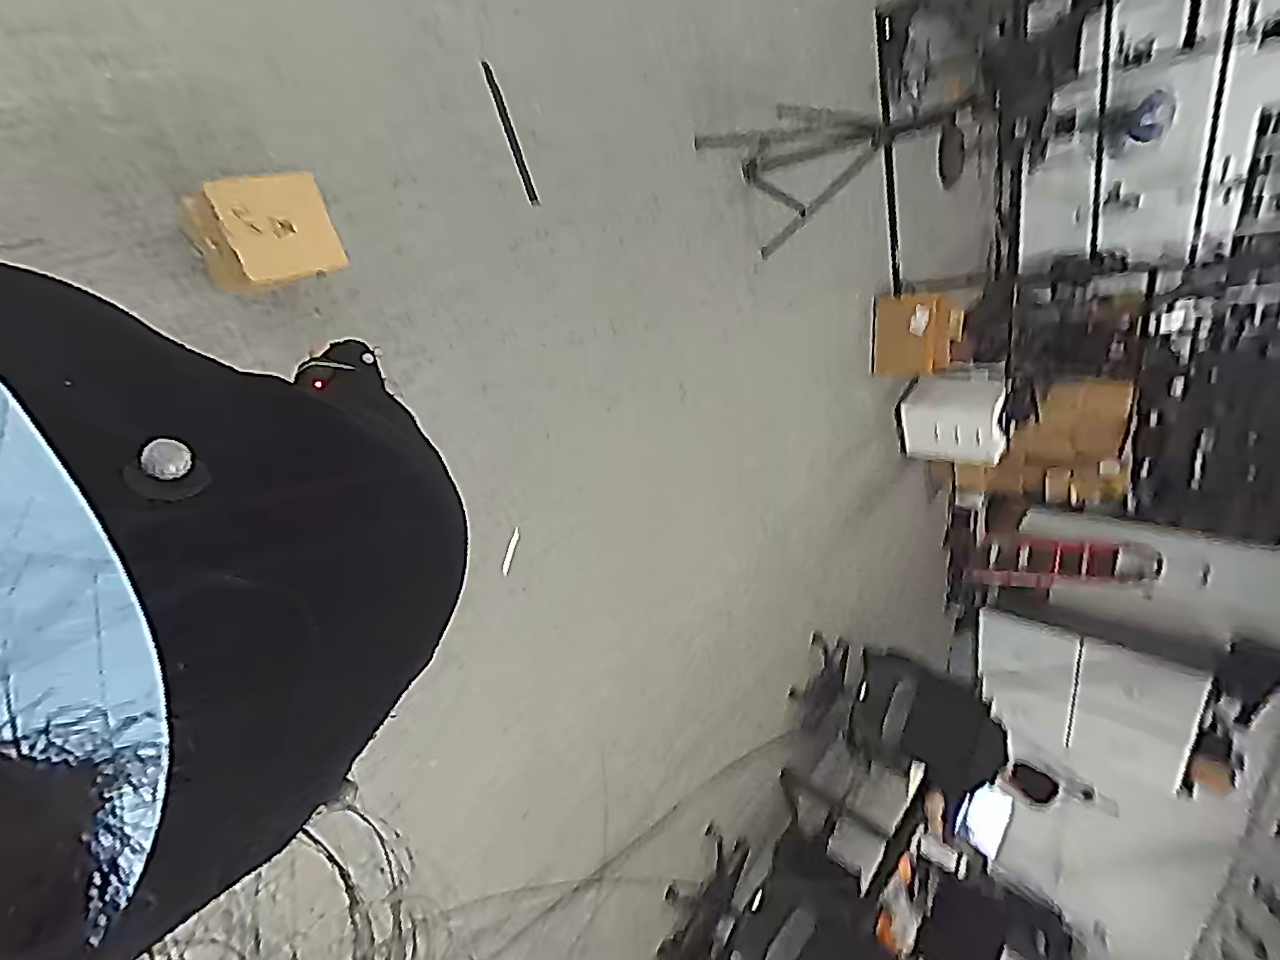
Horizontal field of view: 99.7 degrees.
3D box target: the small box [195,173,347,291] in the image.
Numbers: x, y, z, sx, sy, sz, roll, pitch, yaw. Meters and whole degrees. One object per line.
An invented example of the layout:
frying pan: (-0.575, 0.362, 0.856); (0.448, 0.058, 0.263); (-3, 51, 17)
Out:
small box: (-0.698, -0.466, 1.024); (0.179, 0.176, 0.168); (-31, 118, -35)
